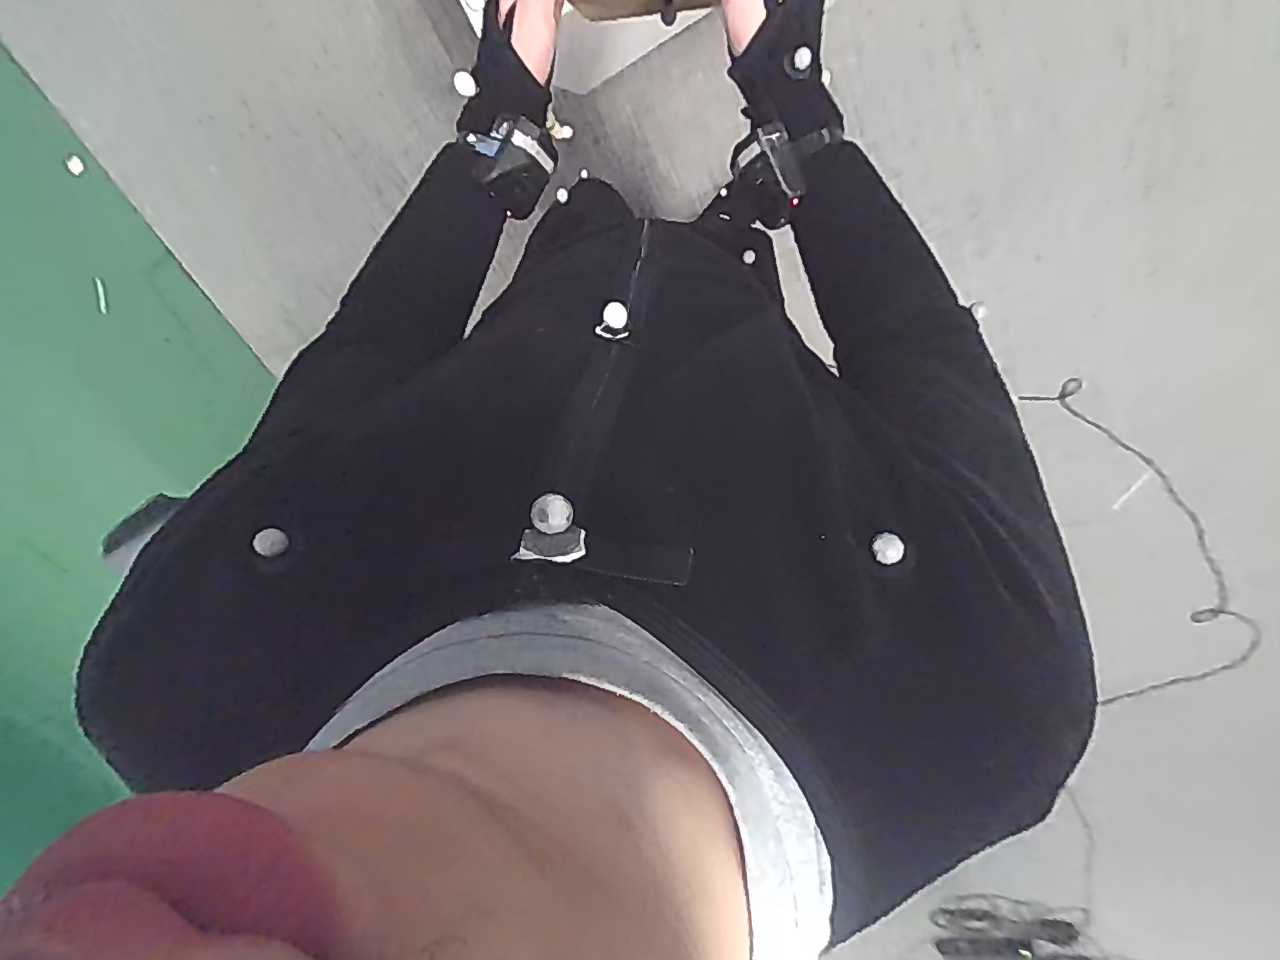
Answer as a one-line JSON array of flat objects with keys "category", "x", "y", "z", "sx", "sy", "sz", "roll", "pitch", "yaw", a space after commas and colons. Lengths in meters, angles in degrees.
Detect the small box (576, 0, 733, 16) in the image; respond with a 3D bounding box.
[{"category": "small box", "x": 0.017, "y": -0.489, "z": 0.415, "sx": 0.179, "sy": 0.176, "sz": 0.168, "roll": 1, "pitch": 118, "yaw": 9}]
